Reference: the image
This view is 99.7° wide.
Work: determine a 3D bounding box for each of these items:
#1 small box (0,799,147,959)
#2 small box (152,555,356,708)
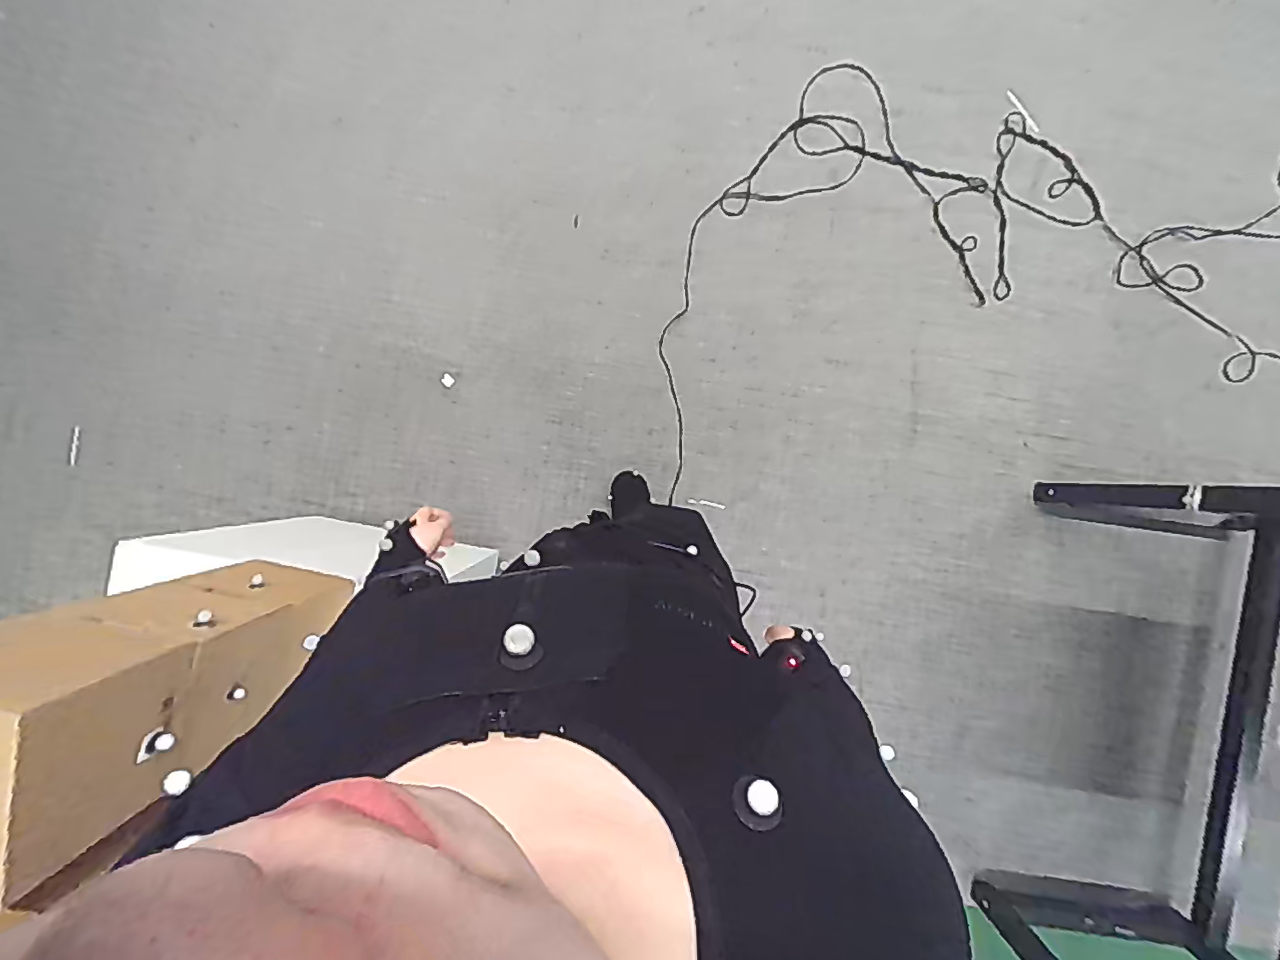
[{"bbox_3d":[-0.626,0.439,0.507,0.168,0.176,0.179,12,89,0],"label":"small box"},{"bbox_3d":[-0.579,0.220,0.833,0.179,0.176,0.168,13,92,0],"label":"small box"}]
